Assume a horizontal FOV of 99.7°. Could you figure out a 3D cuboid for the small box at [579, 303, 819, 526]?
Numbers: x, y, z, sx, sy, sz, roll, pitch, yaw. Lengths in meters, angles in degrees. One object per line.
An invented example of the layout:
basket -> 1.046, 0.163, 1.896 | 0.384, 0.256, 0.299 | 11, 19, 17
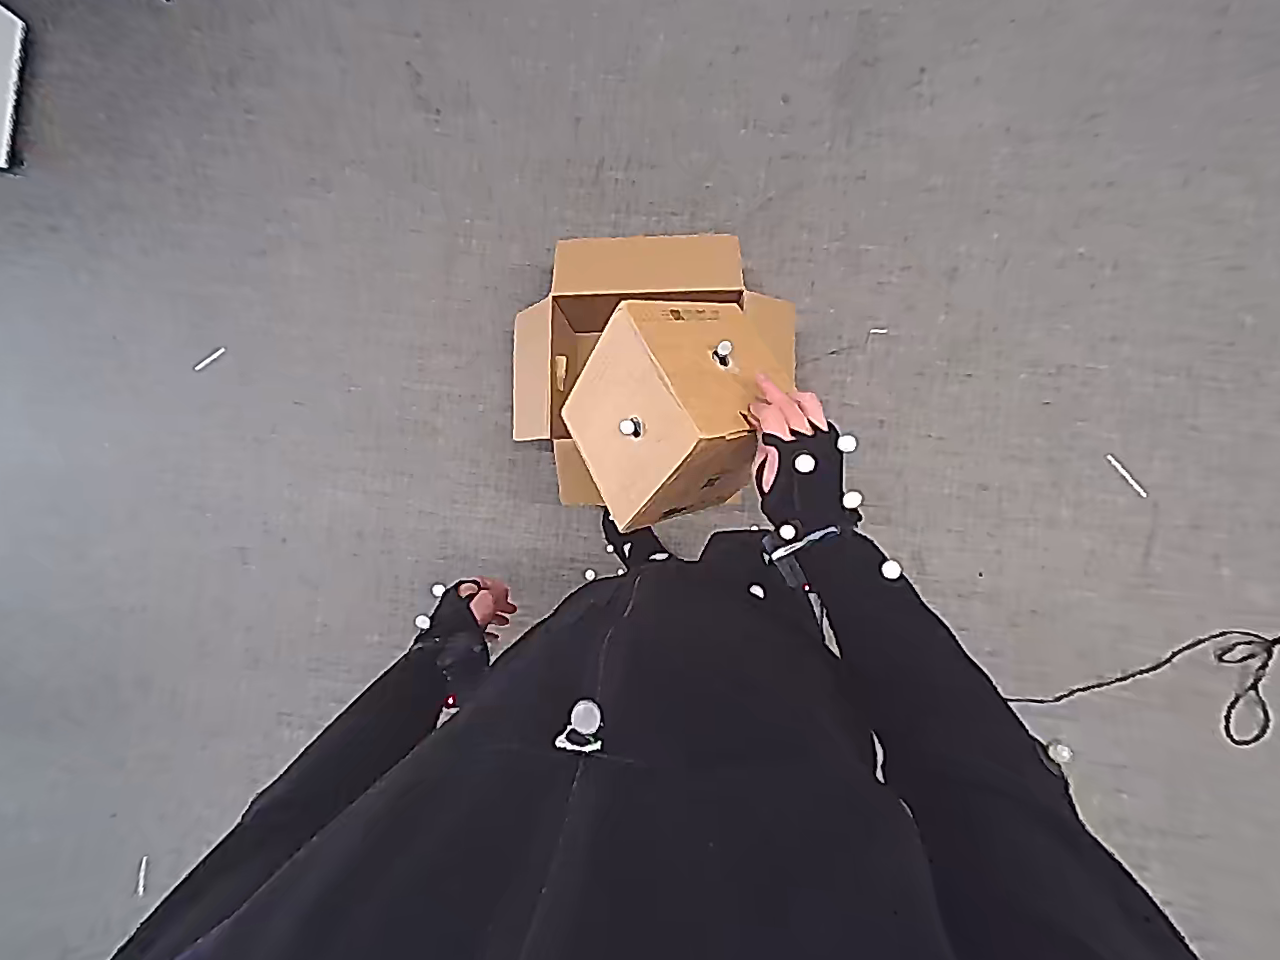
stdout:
small box -> 0.052, -0.075, 0.601 | 0.168, 0.179, 0.176 | -10, 64, -34
